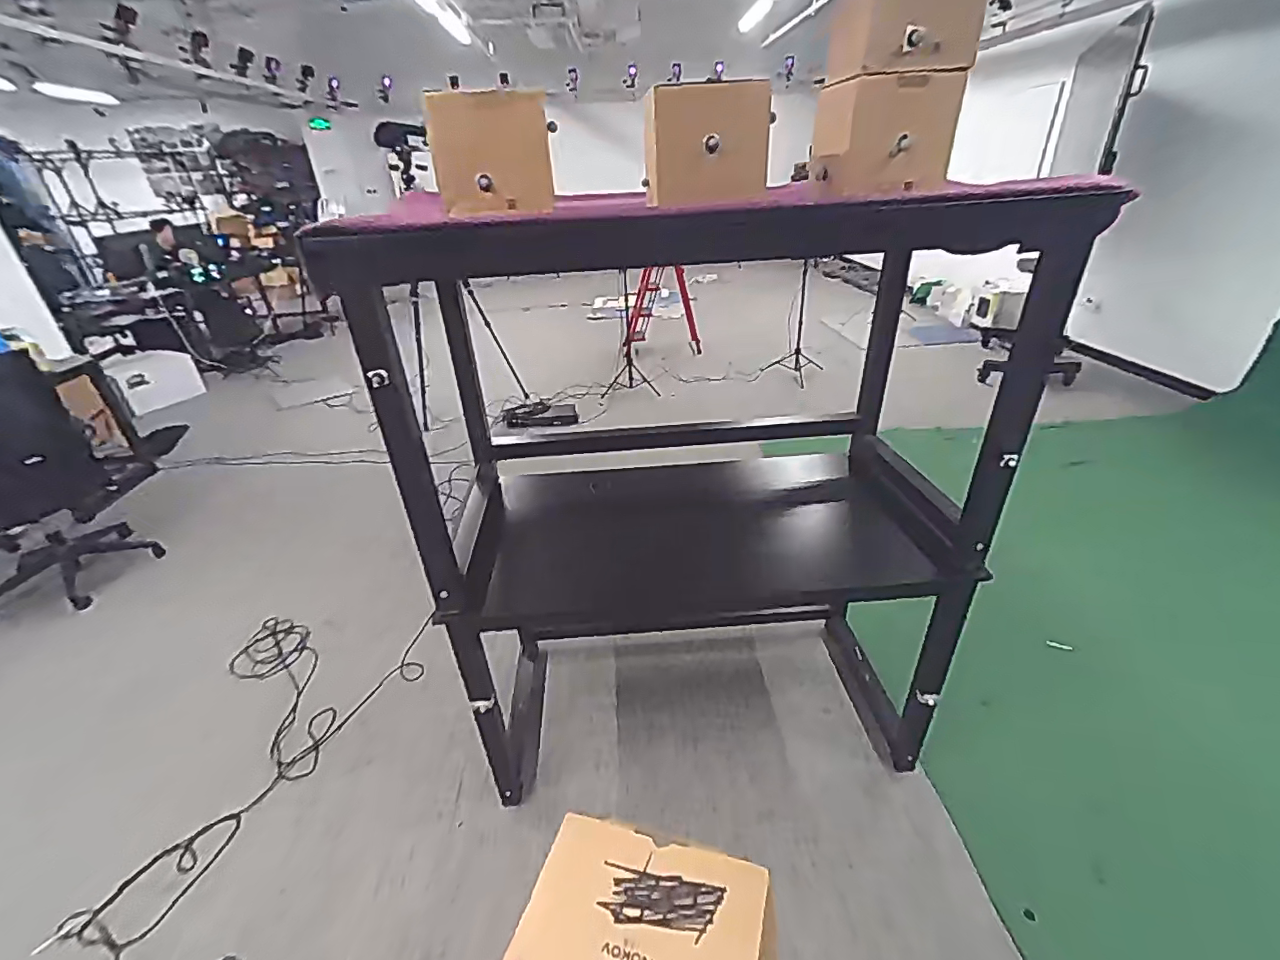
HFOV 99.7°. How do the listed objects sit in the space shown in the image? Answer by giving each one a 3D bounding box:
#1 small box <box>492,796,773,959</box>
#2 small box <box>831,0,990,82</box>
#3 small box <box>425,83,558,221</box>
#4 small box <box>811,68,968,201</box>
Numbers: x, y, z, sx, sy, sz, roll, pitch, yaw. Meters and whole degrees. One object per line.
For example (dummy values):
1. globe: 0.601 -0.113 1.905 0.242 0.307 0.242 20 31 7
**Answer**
1. small box: 0.001 0.375 0.385 0.168 0.176 0.179 2 29 21
2. small box: 0.395 -0.698 0.804 0.168 0.176 0.179 -4 31 2
3. small box: -0.220 -0.505 0.848 0.168 0.176 0.179 -5 29 -6
4. small box: 0.393 -0.557 0.887 0.168 0.176 0.179 -4 31 -1
